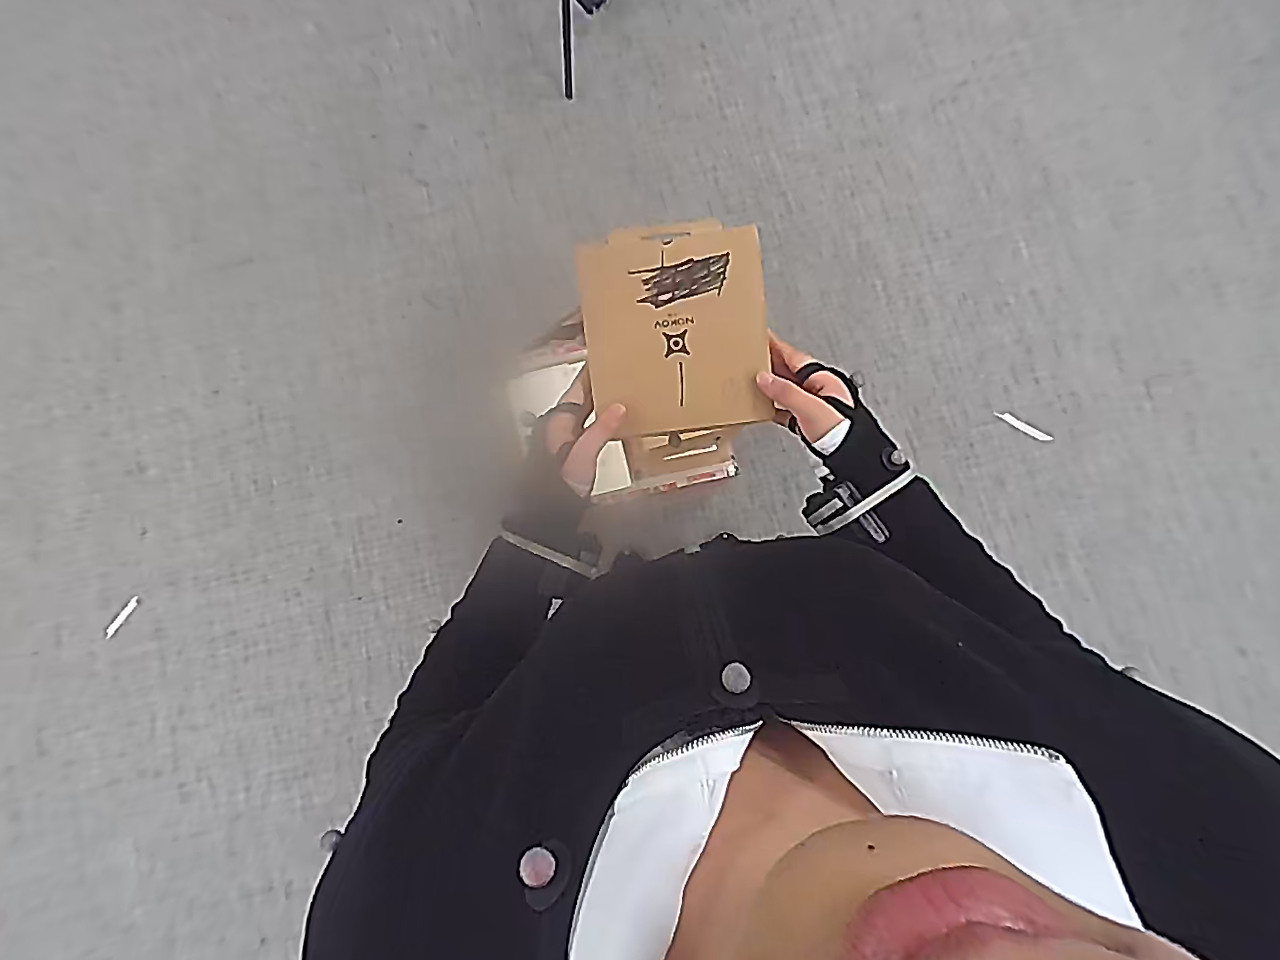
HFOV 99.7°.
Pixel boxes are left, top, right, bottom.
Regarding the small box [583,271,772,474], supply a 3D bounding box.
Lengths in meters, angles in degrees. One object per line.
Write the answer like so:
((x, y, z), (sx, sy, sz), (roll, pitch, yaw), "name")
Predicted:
((0.034, -0.104, 0.582), (0.168, 0.176, 0.179), (-7, 94, 1), "small box")
